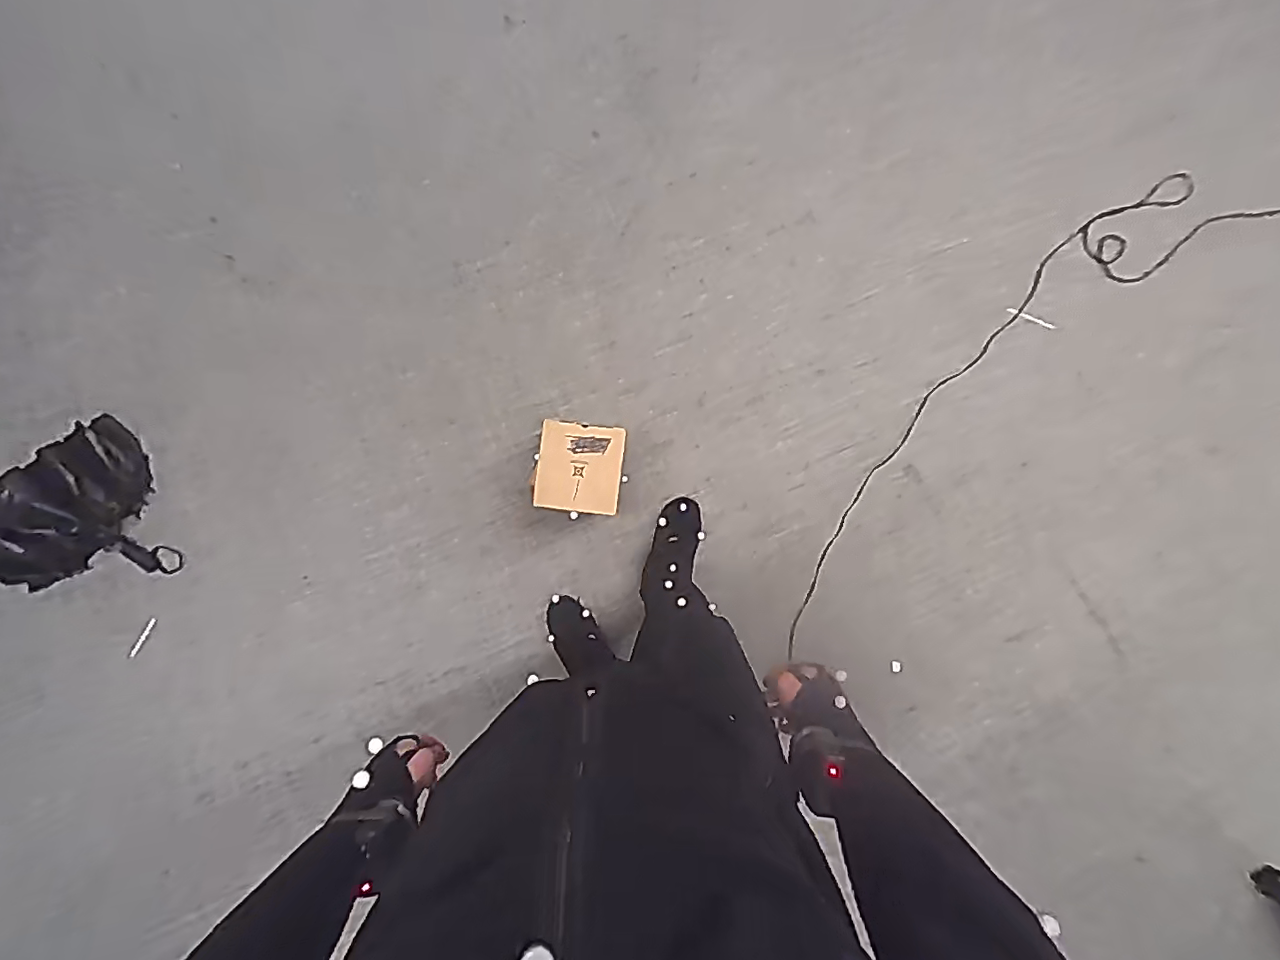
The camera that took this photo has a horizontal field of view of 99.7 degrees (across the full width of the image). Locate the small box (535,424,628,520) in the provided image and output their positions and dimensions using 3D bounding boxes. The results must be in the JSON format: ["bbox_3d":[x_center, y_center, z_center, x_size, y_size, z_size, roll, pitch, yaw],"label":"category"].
[{"bbox_3d":[-0.120,-0.012,1.148,0.168,0.176,0.179,7,87,-2],"label":"small box"}]
